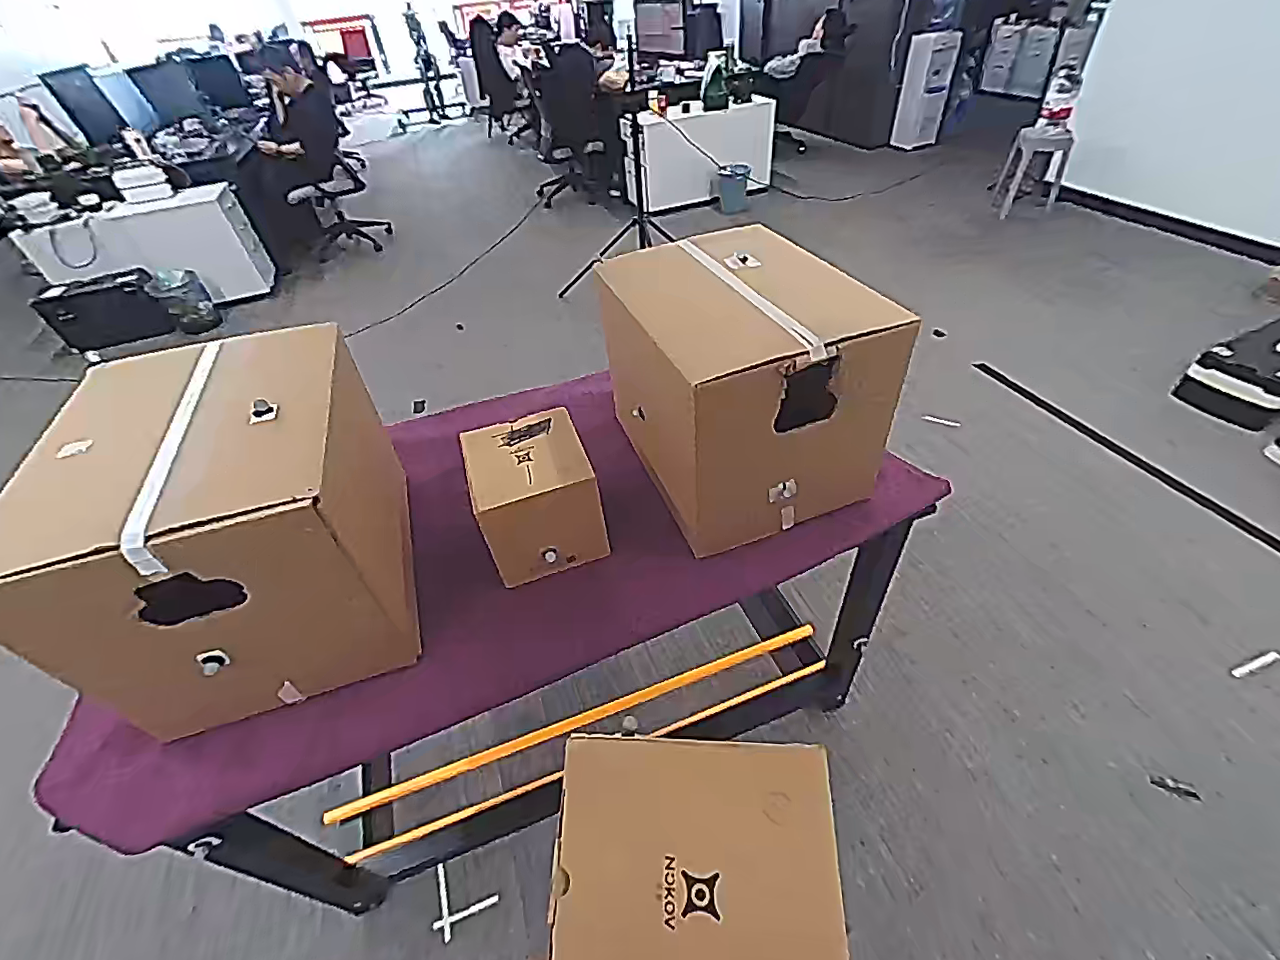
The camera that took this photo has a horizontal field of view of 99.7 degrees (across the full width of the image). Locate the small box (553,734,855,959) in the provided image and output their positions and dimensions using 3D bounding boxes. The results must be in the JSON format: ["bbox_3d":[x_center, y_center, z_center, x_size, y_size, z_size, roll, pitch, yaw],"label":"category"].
[{"bbox_3d":[0.047,0.281,0.397,0.179,0.176,0.168,-3,63,10],"label":"small box"}]

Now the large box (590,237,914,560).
[{"bbox_3d":[0.146,-0.148,0.873,0.320,0.320,0.408,-18,43,-12],"label":"large box"}]
